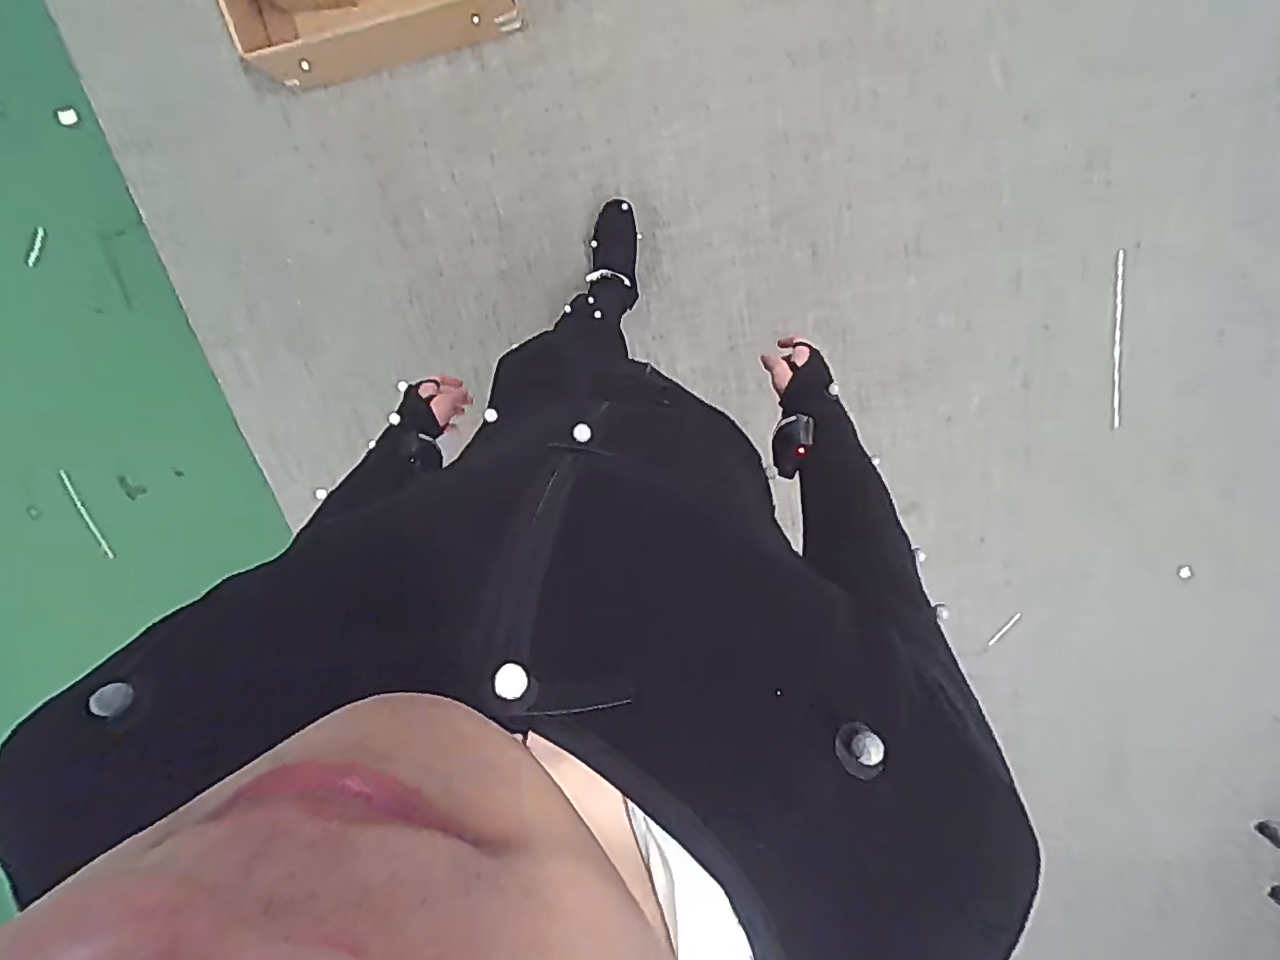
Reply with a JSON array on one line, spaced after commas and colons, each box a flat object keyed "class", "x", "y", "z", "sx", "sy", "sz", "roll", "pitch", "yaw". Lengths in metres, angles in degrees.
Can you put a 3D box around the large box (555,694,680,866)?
[{"class": "large box", "x": -0.062, "y": 1.009, "z": 1.838, "sx": 0.320, "sy": 0.320, "sz": 0.408, "roll": -12, "pitch": 109, "yaw": 8}]
